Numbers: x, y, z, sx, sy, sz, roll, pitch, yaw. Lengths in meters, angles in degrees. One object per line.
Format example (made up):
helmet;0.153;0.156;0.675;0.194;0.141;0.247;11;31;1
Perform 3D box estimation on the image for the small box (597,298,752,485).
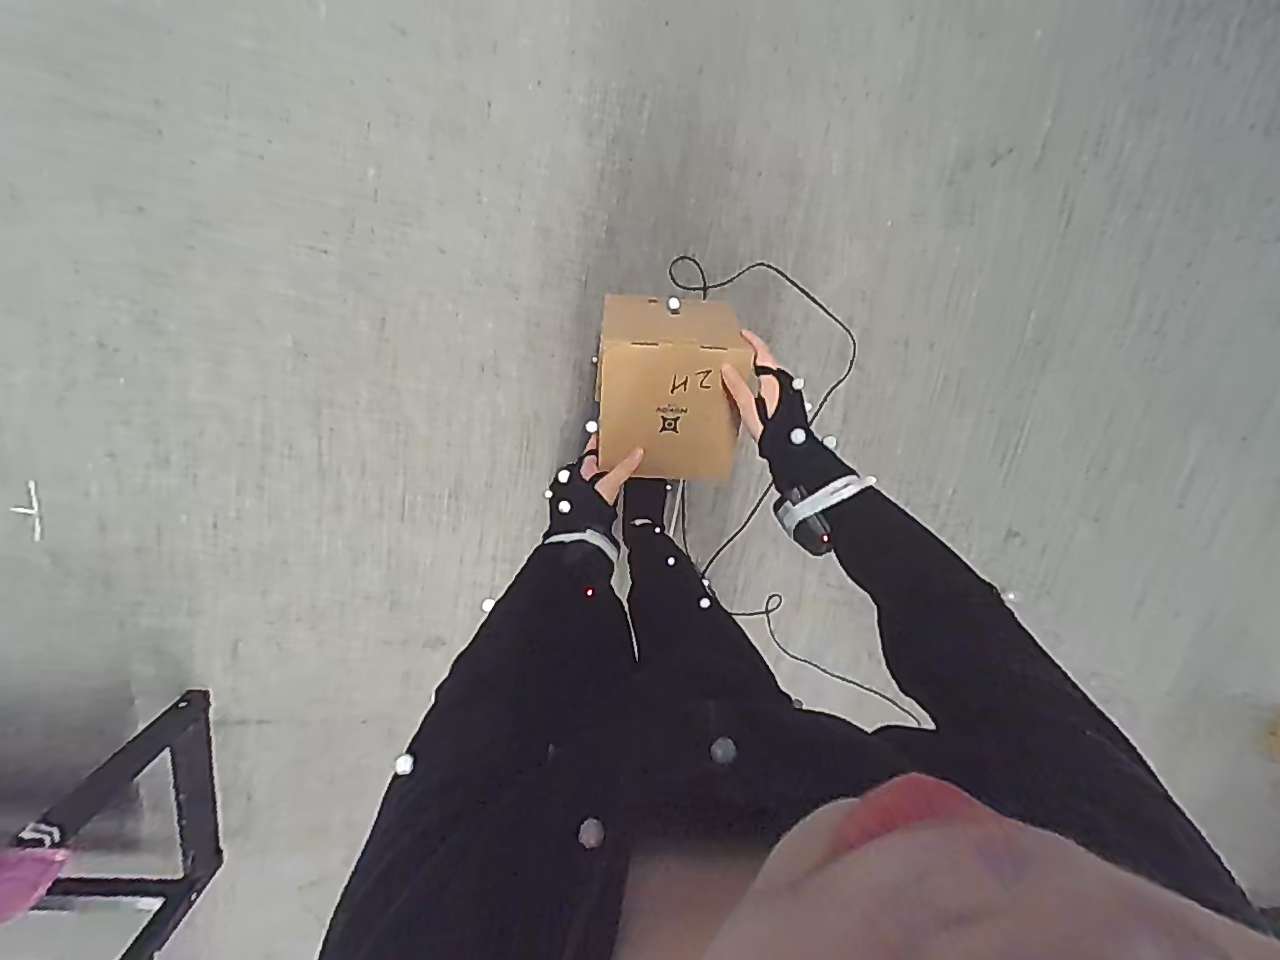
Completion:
small box;0.034;-0.115;0.694;0.168;0.176;0.179;3;126;-3
